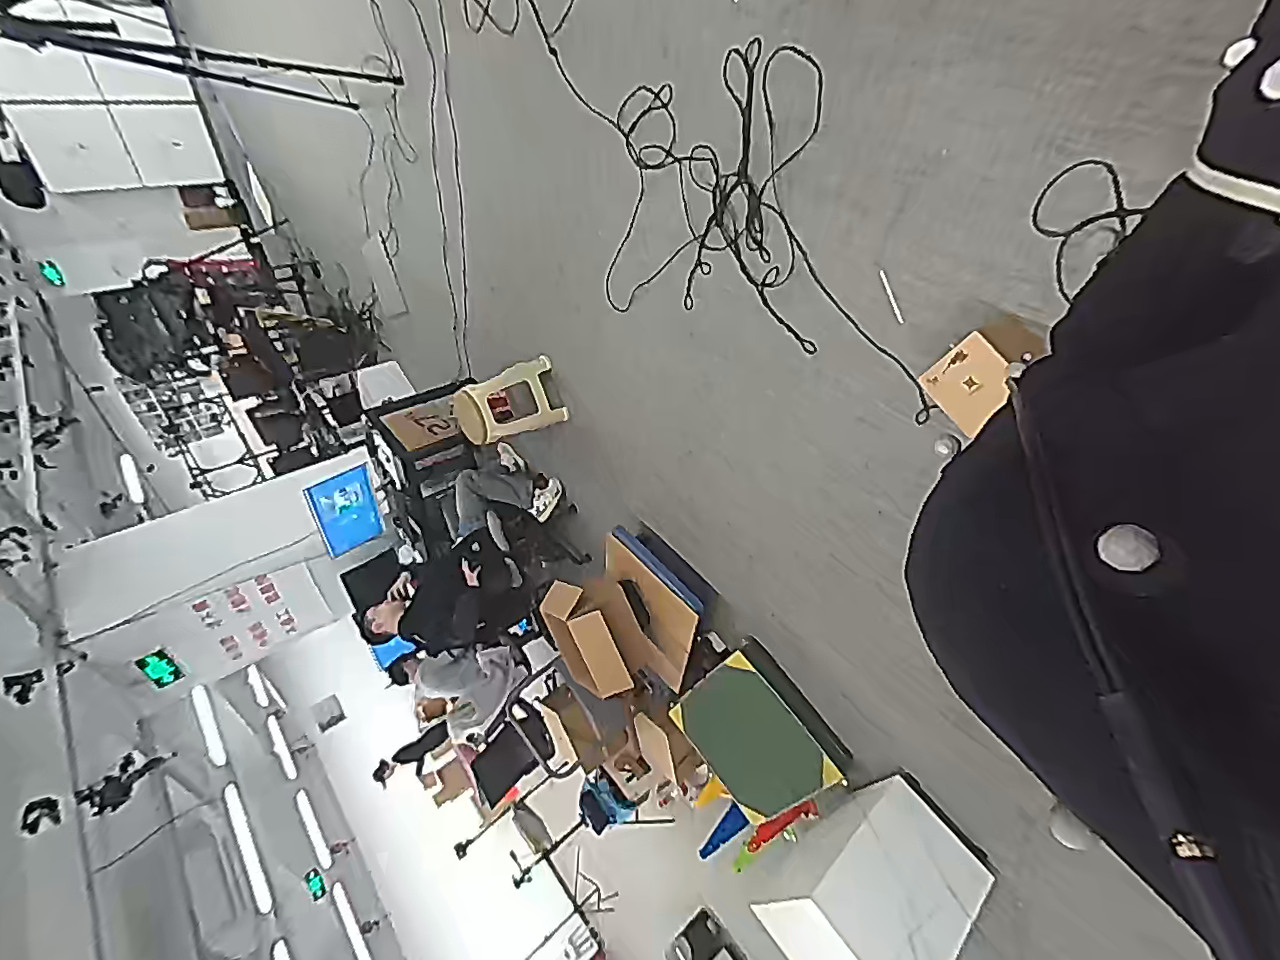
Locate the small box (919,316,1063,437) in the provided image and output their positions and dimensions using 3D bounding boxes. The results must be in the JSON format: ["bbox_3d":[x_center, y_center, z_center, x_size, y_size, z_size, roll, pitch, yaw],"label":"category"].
[{"bbox_3d":[0.765,-0.229,1.177,0.179,0.176,0.168,55,147,13],"label":"small box"}]
